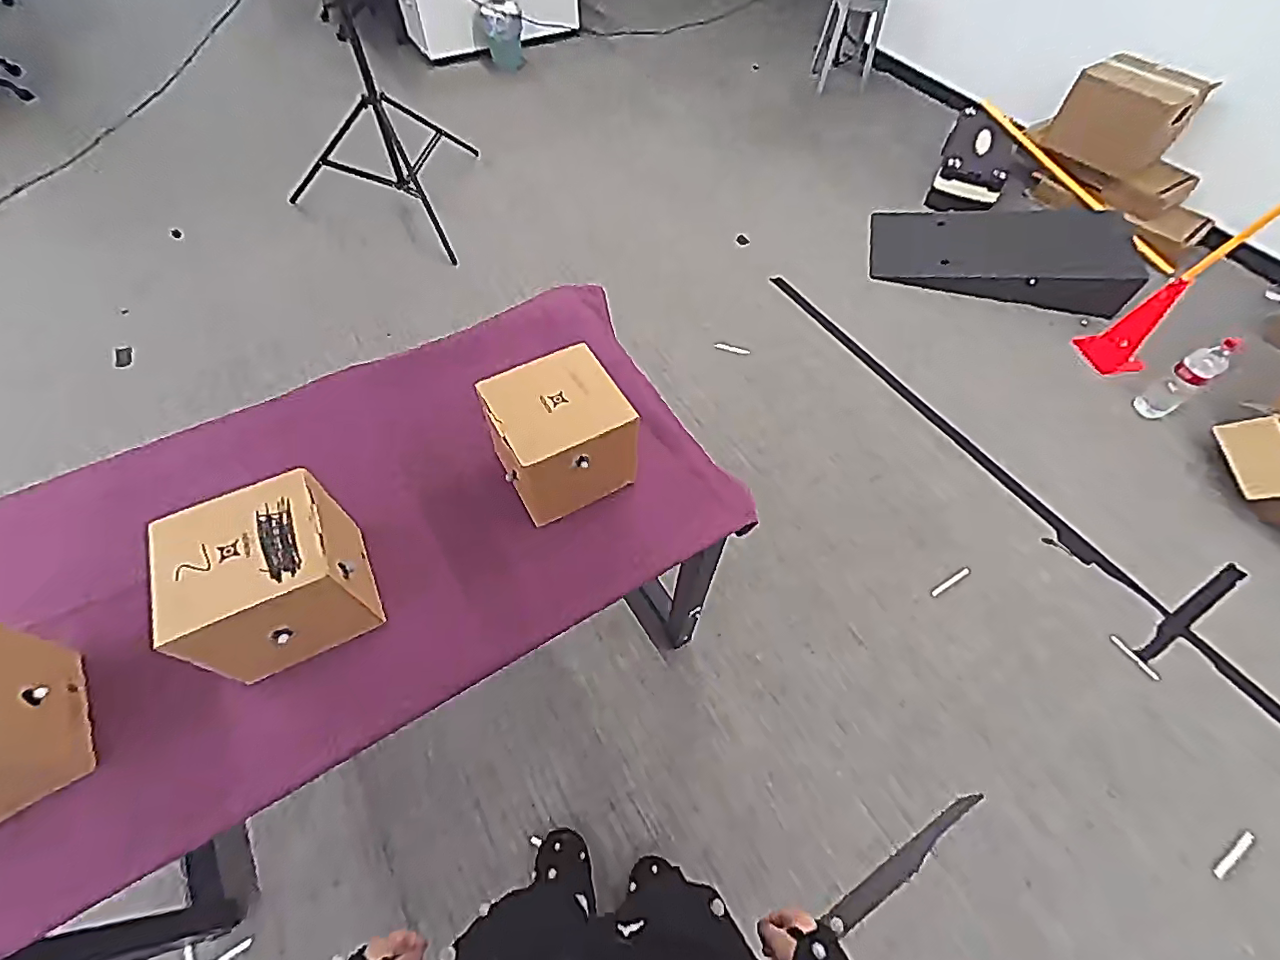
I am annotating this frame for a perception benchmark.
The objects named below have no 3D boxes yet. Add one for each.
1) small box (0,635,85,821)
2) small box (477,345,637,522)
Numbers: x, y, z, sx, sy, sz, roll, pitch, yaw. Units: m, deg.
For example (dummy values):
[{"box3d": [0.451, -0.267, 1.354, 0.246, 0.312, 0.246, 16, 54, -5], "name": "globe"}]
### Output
[{"box3d": [-0.744, 0.275, 0.569, 0.179, 0.176, 0.168, -29, 61, -19], "name": "small box"}, {"box3d": [-0.118, -0.065, 0.812, 0.179, 0.176, 0.168, -26, 62, -18], "name": "small box"}]
